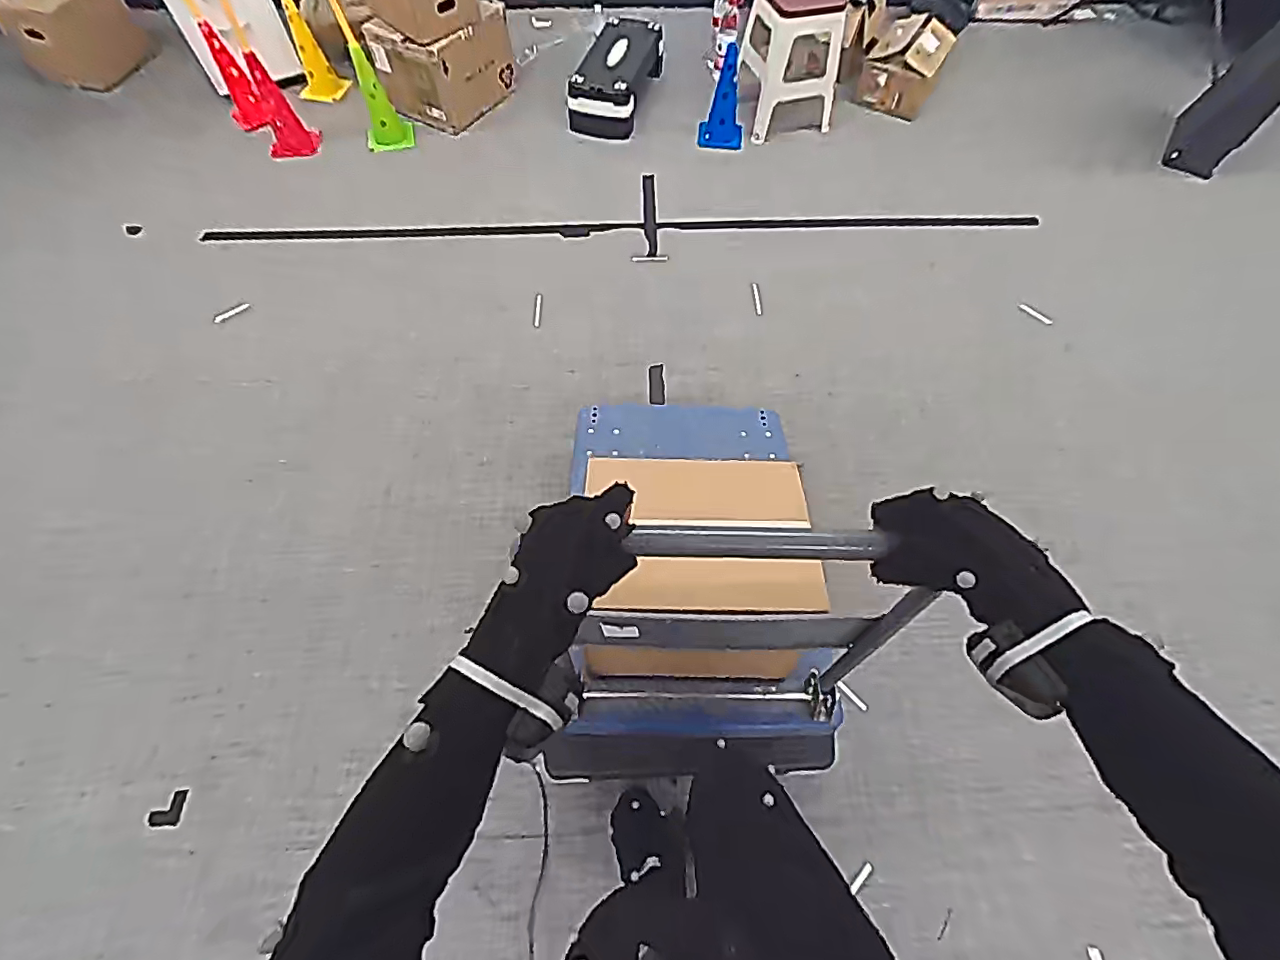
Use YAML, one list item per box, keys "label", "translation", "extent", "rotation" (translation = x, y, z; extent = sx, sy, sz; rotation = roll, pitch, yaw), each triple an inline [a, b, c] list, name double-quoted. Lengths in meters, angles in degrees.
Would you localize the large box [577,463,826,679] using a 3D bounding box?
- label: "large box"
  translation: [0.090, 0.183, 1.055]
  extent: [0.408, 0.320, 0.320]
  rotation: [1, 52, -2]
